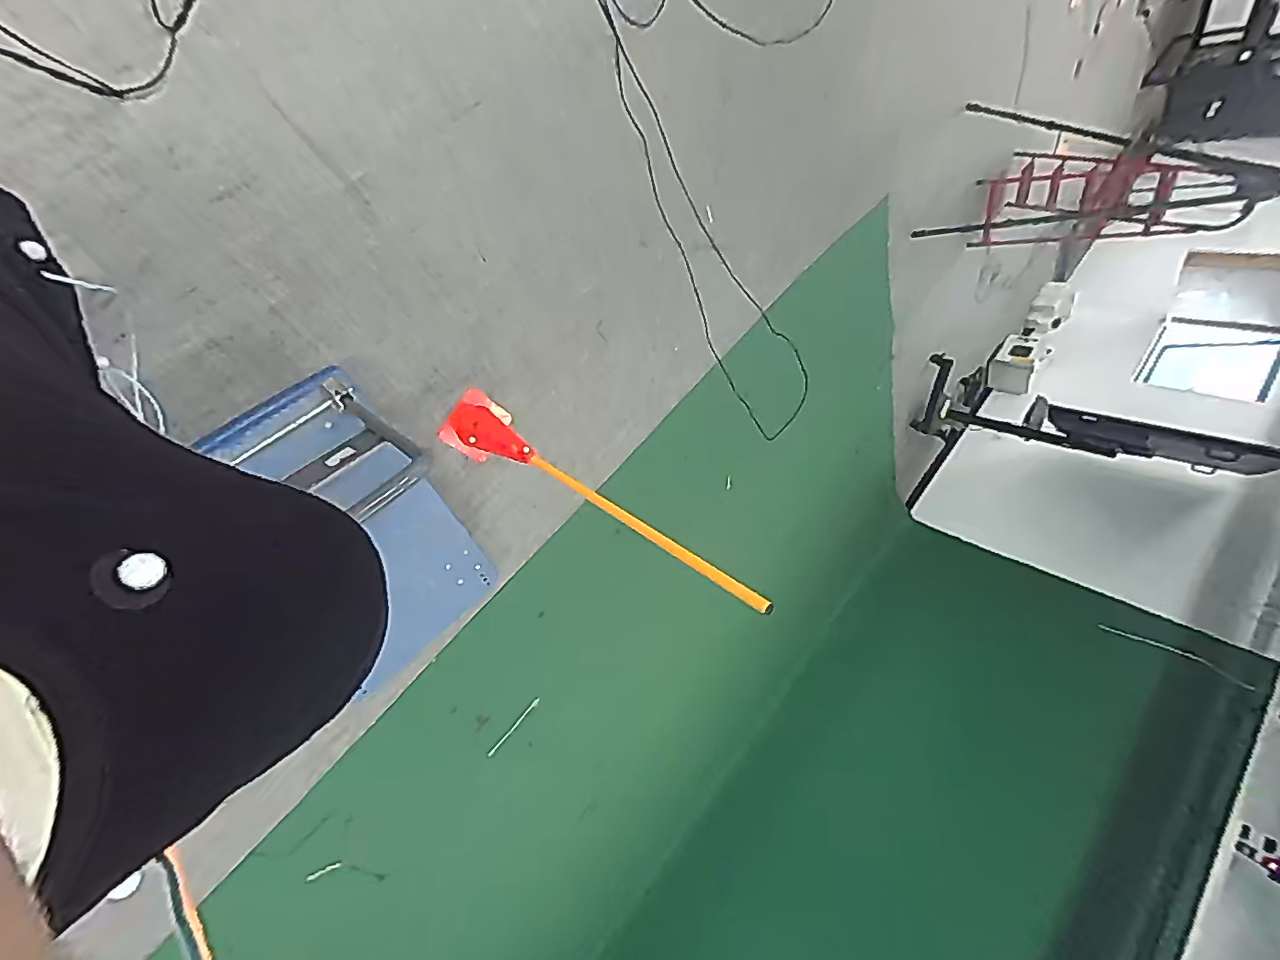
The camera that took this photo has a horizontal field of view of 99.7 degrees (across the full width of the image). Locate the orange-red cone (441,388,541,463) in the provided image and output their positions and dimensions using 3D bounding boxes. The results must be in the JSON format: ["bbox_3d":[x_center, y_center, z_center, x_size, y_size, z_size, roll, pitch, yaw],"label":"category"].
[{"bbox_3d":[-0.425,-0.129,1.690,0.199,0.360,0.198,-58,139,-8],"label":"orange-red cone"}]
